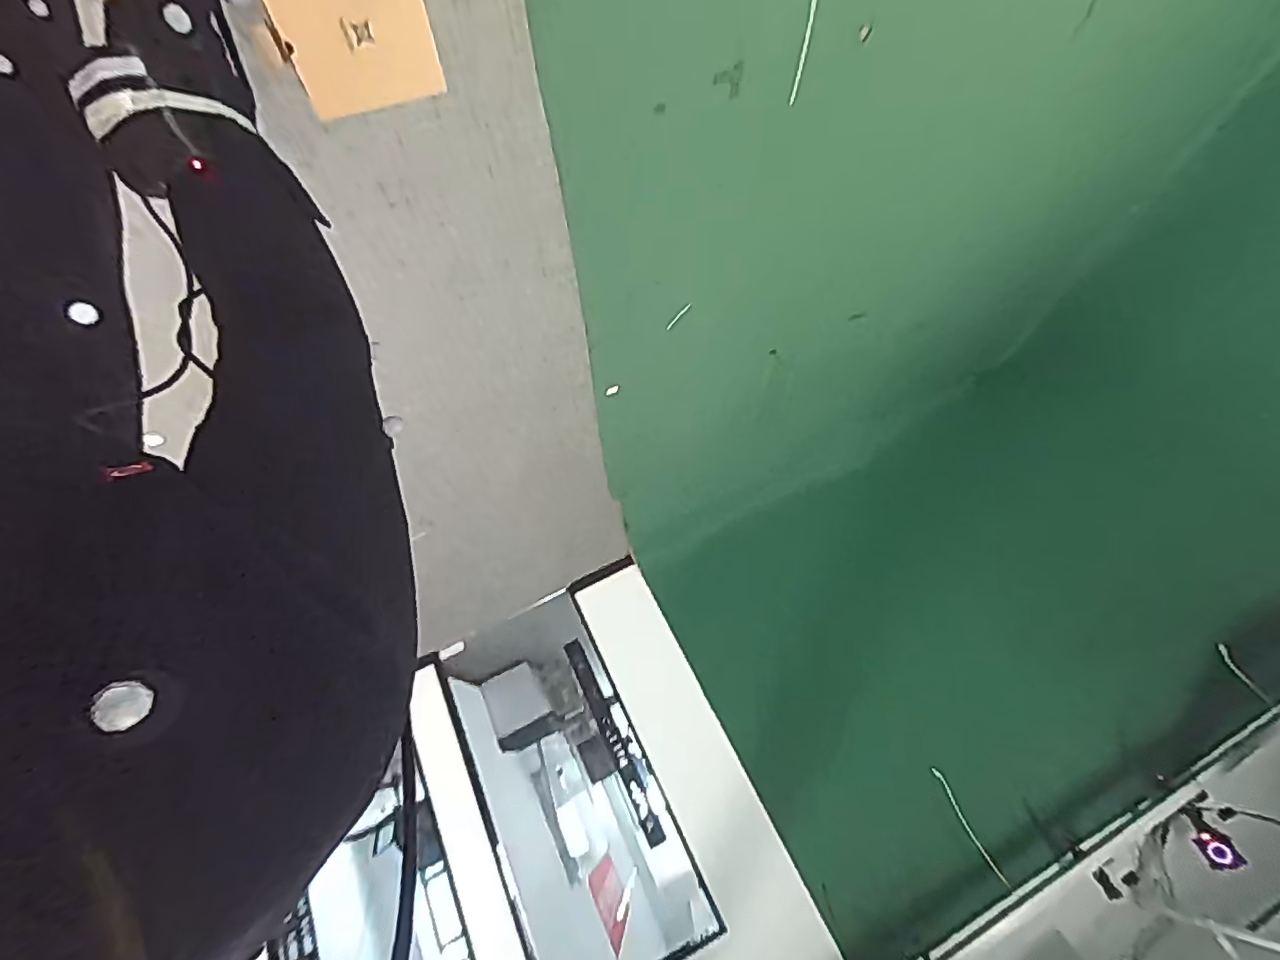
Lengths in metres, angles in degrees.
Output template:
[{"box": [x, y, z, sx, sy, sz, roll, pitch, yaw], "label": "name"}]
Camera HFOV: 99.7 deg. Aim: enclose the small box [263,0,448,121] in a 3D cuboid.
[{"box": [-0.371, -0.598, 0.677, 0.179, 0.176, 0.168, -24, 155, -13], "label": "small box"}]
